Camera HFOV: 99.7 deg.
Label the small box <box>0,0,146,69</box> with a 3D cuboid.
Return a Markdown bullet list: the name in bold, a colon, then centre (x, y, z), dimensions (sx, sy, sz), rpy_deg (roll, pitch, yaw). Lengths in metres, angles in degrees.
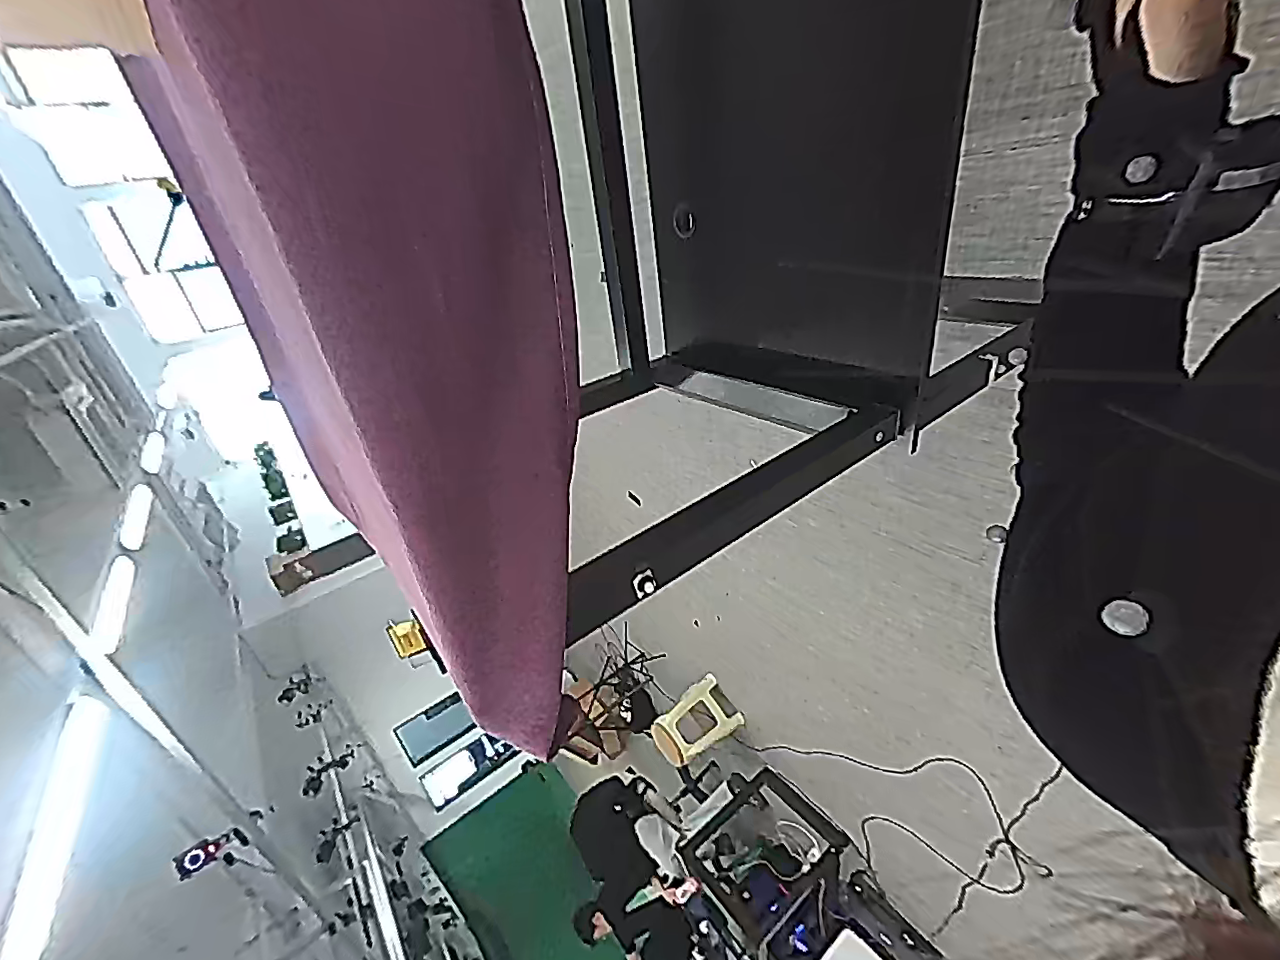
- **small box**: centre (-0.430, -0.357, 0.304), dimensions (0.179, 0.176, 0.168), rpy_deg (24, 132, 51)
